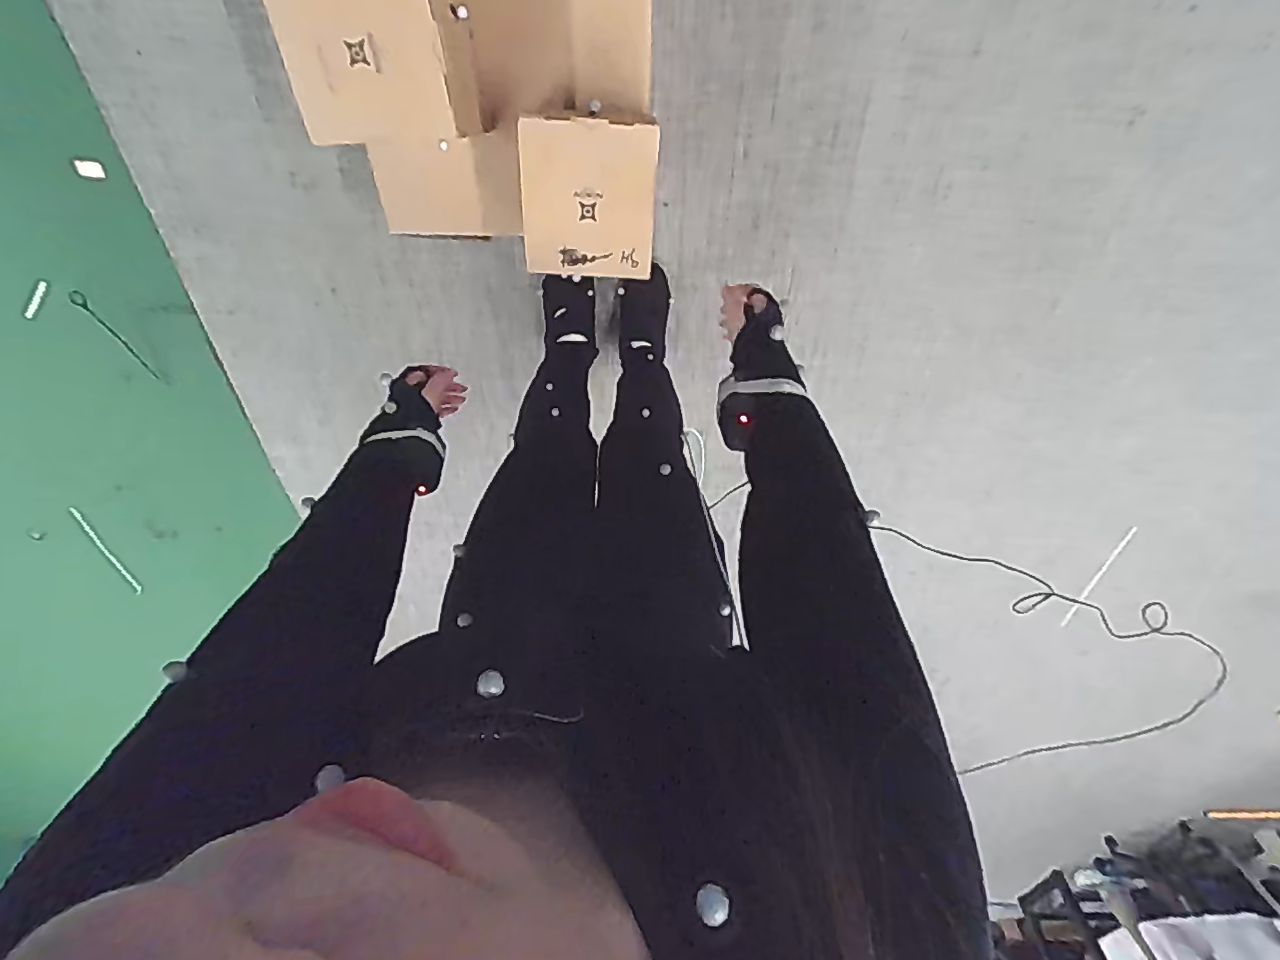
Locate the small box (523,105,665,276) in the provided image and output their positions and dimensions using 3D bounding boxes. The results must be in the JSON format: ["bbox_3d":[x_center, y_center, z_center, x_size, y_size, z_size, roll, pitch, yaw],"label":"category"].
[{"bbox_3d":[-0.061,-0.392,0.727,0.168,0.176,0.179,3,126,-3],"label":"small box"}]

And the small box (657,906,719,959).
[{"bbox_3d":[0.139,1.383,1.596,0.179,0.176,0.168,-1,128,2],"label":"small box"}]

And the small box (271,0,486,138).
[{"bbox_3d":[-0.293,-0.511,0.642,0.179,0.176,0.168,-1,125,2],"label":"small box"}]
